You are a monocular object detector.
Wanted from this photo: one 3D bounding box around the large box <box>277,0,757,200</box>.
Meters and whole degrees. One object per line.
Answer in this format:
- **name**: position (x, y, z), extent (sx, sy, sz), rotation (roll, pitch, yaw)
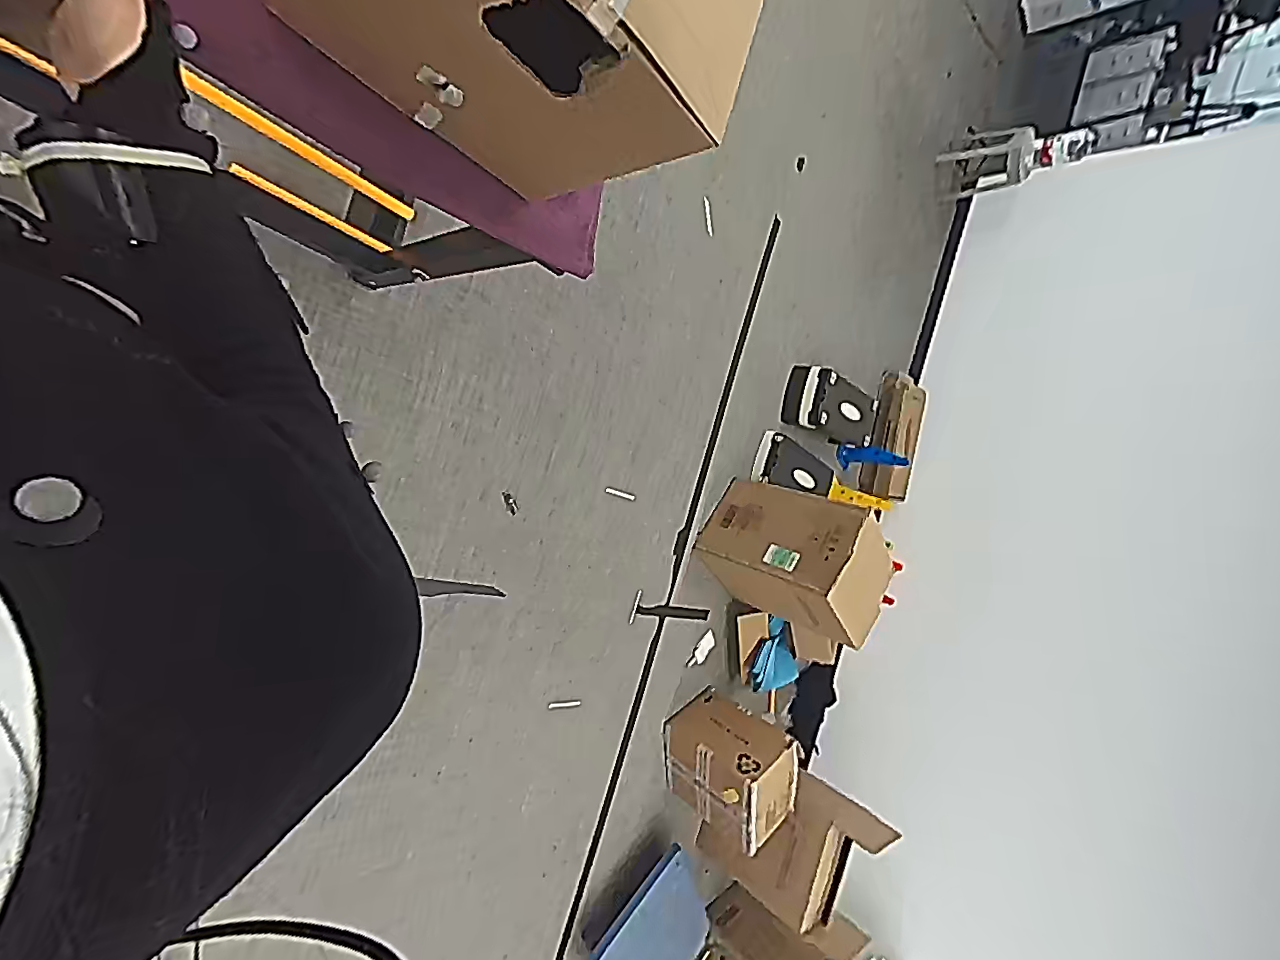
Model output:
- **large box**: position (-0.081, -0.558, 0.505), extent (0.320, 0.320, 0.408), rotation (18, 86, -48)
